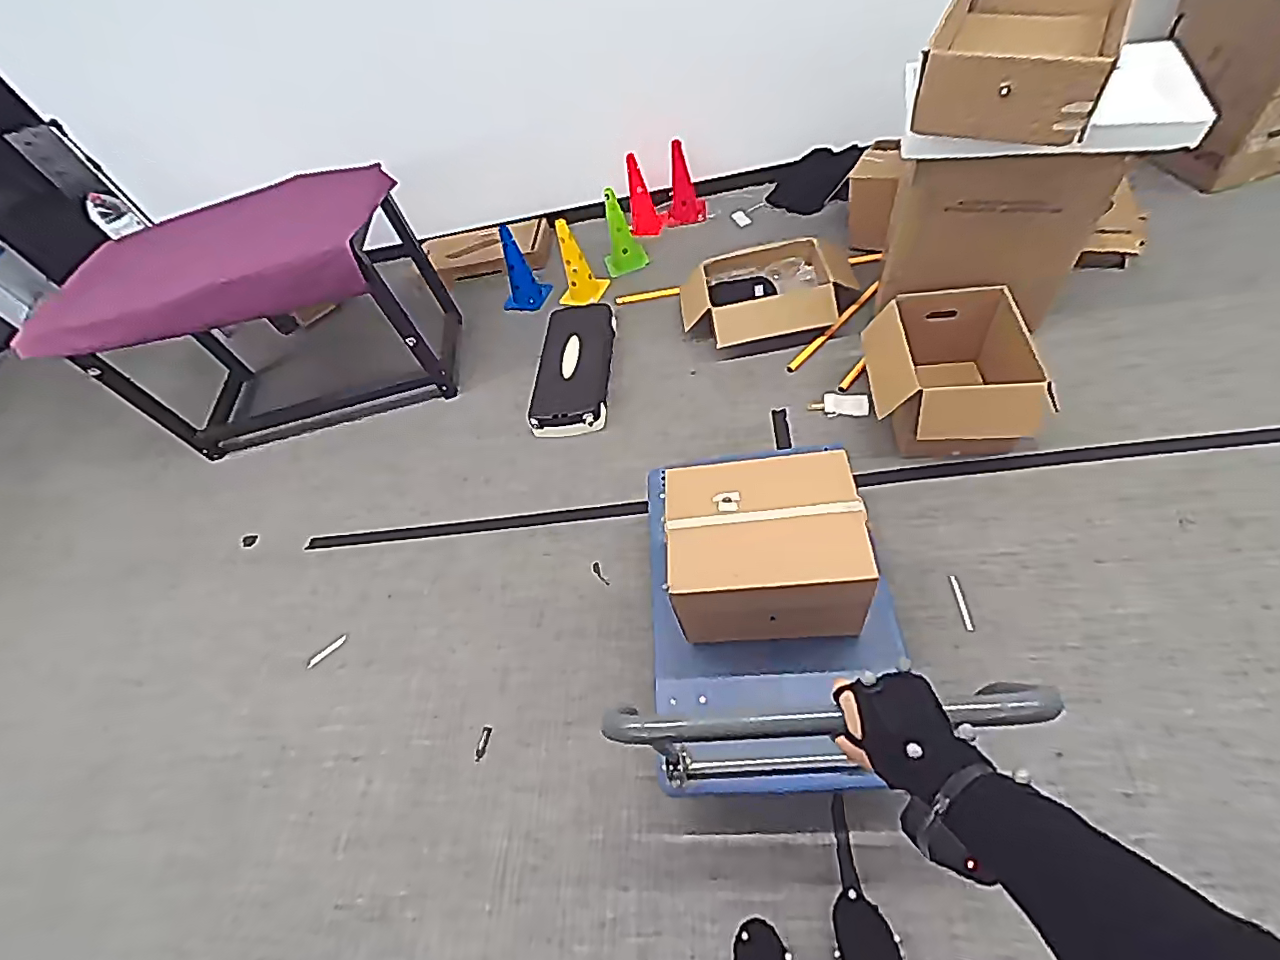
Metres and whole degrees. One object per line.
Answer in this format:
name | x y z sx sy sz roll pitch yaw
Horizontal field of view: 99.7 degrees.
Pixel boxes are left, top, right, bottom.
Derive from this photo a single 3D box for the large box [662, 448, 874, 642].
large box | 0.280 0.163 1.247 0.408 0.320 0.320 -7 53 11
